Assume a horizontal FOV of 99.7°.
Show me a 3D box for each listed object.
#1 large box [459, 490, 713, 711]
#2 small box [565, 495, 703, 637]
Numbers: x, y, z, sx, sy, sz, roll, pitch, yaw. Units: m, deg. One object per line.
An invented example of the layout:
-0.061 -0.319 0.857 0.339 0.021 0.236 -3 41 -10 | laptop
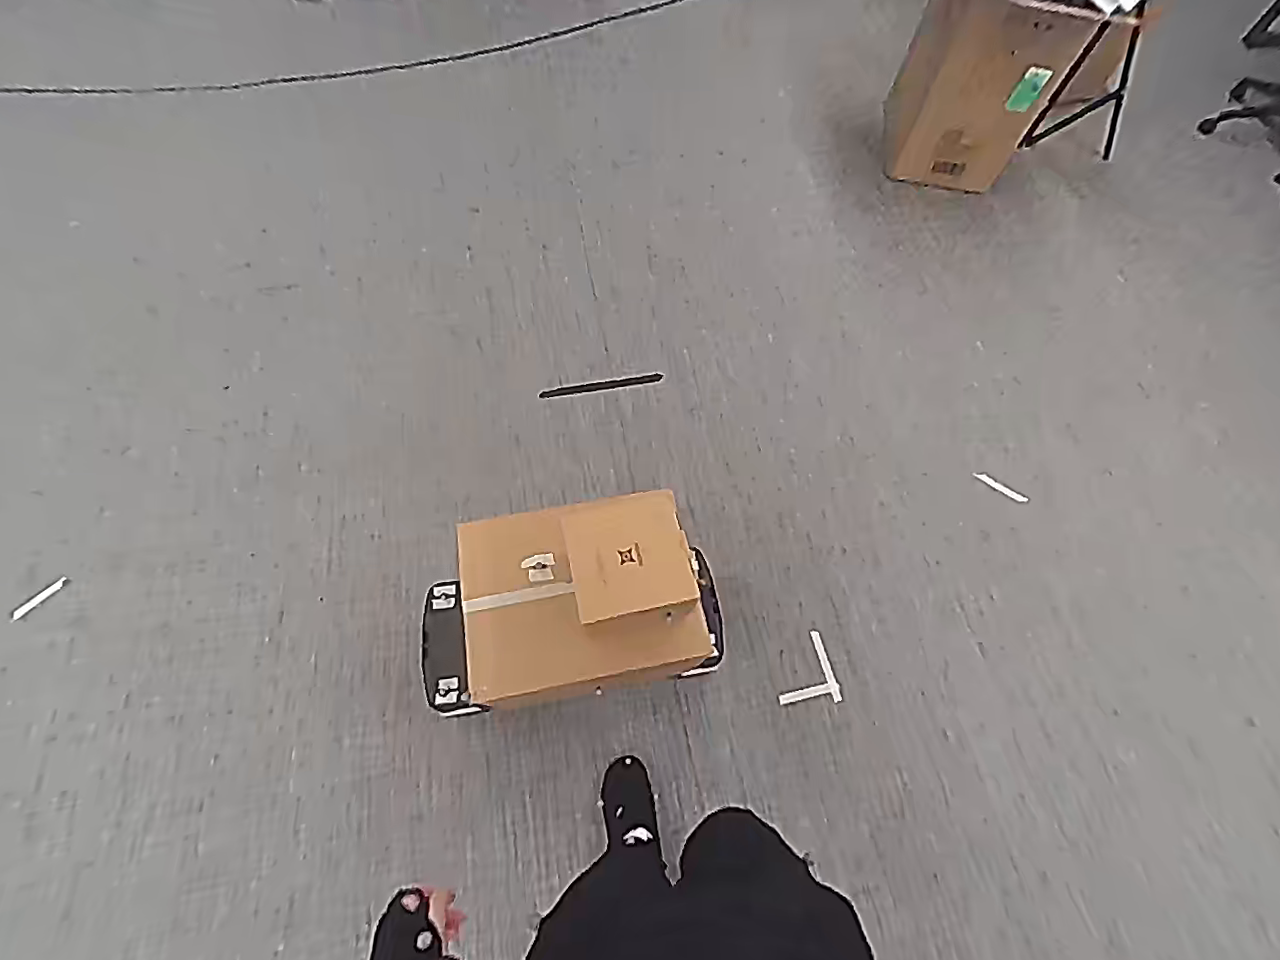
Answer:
-0.104 0.250 1.070 0.408 0.320 0.320 -10 65 -6 | large box
-0.015 0.141 0.854 0.179 0.176 0.168 -11 67 -7 | small box
